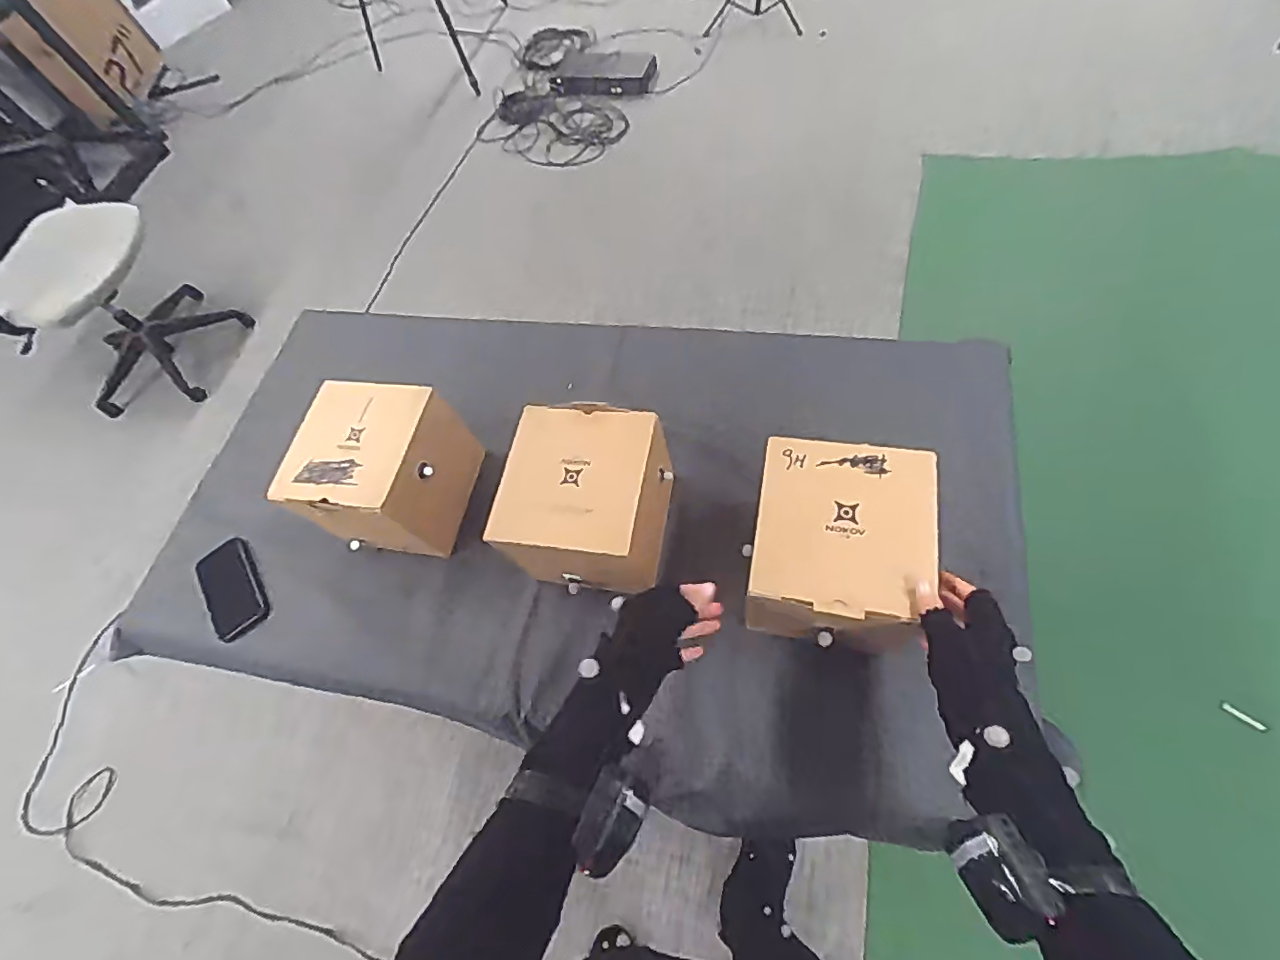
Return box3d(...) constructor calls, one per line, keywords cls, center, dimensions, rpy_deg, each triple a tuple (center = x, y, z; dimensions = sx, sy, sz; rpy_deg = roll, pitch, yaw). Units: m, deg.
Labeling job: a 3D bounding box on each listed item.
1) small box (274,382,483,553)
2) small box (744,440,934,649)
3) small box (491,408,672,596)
box3d(cls="small box", center=(-0.341, -0.011, 0.745), dimensions=(0.168, 0.176, 0.179), rpy_deg=(6, 64, 13))
box3d(cls="small box", center=(0.211, 0.078, 0.599), dimensions=(0.168, 0.176, 0.179), rpy_deg=(7, 66, 14))
box3d(cls="small box", center=(-0.057, 0.031, 0.675), dimensions=(0.168, 0.176, 0.179), rpy_deg=(4, 65, 14))
